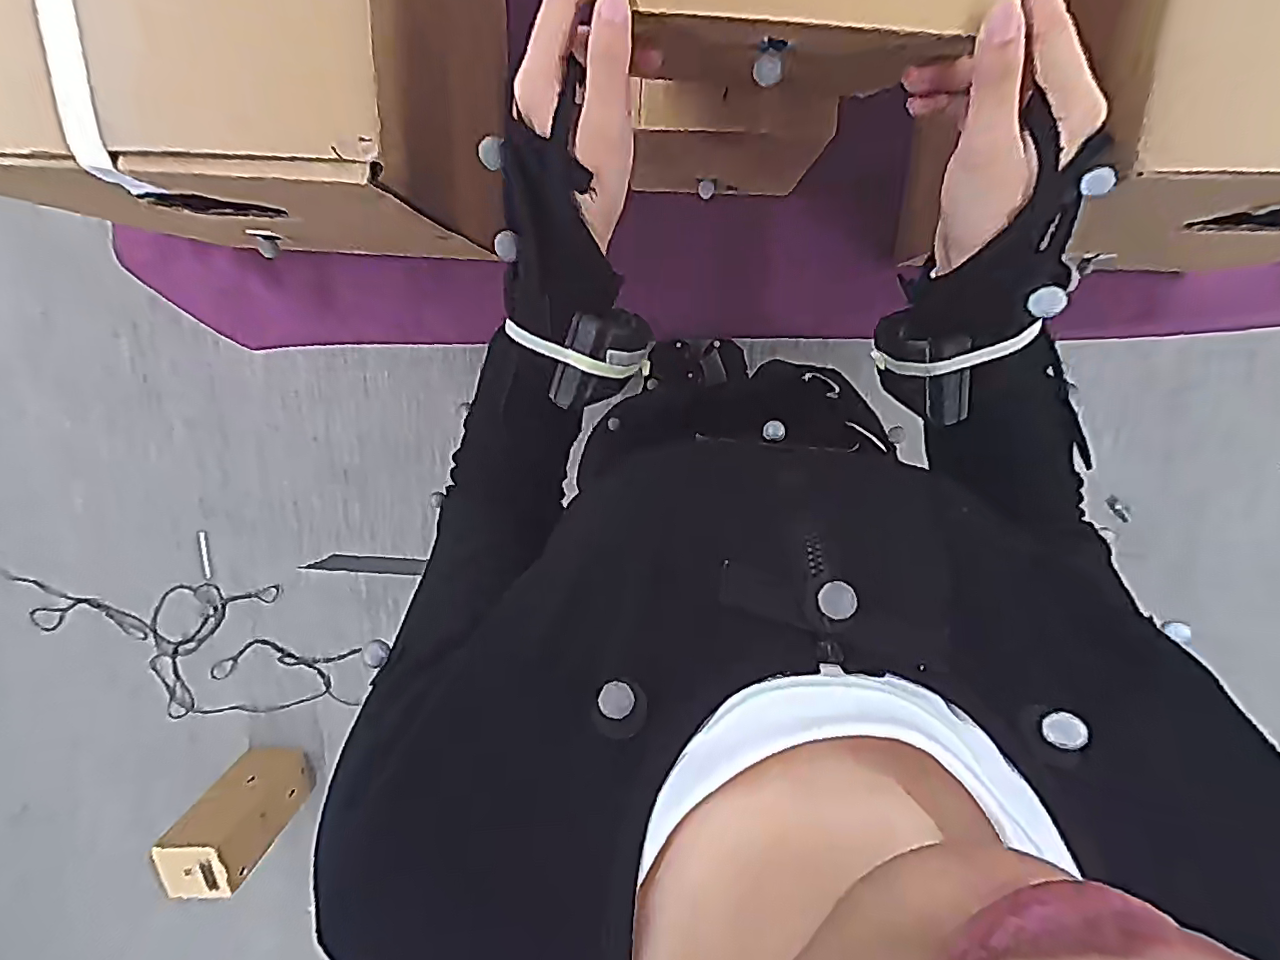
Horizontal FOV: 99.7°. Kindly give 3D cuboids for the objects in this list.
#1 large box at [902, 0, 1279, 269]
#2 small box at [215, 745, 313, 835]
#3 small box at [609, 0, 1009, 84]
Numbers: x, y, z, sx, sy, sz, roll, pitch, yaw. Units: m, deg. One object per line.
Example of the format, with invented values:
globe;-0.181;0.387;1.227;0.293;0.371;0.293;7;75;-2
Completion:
large box;0.414;-0.380;0.375;0.320;0.320;0.408;2;103;2
small box;-1.107;0.918;1.613;0.179;0.176;0.168;1;104;3
small box;0.080;-0.312;0.267;0.179;0.176;0.168;4;119;0
